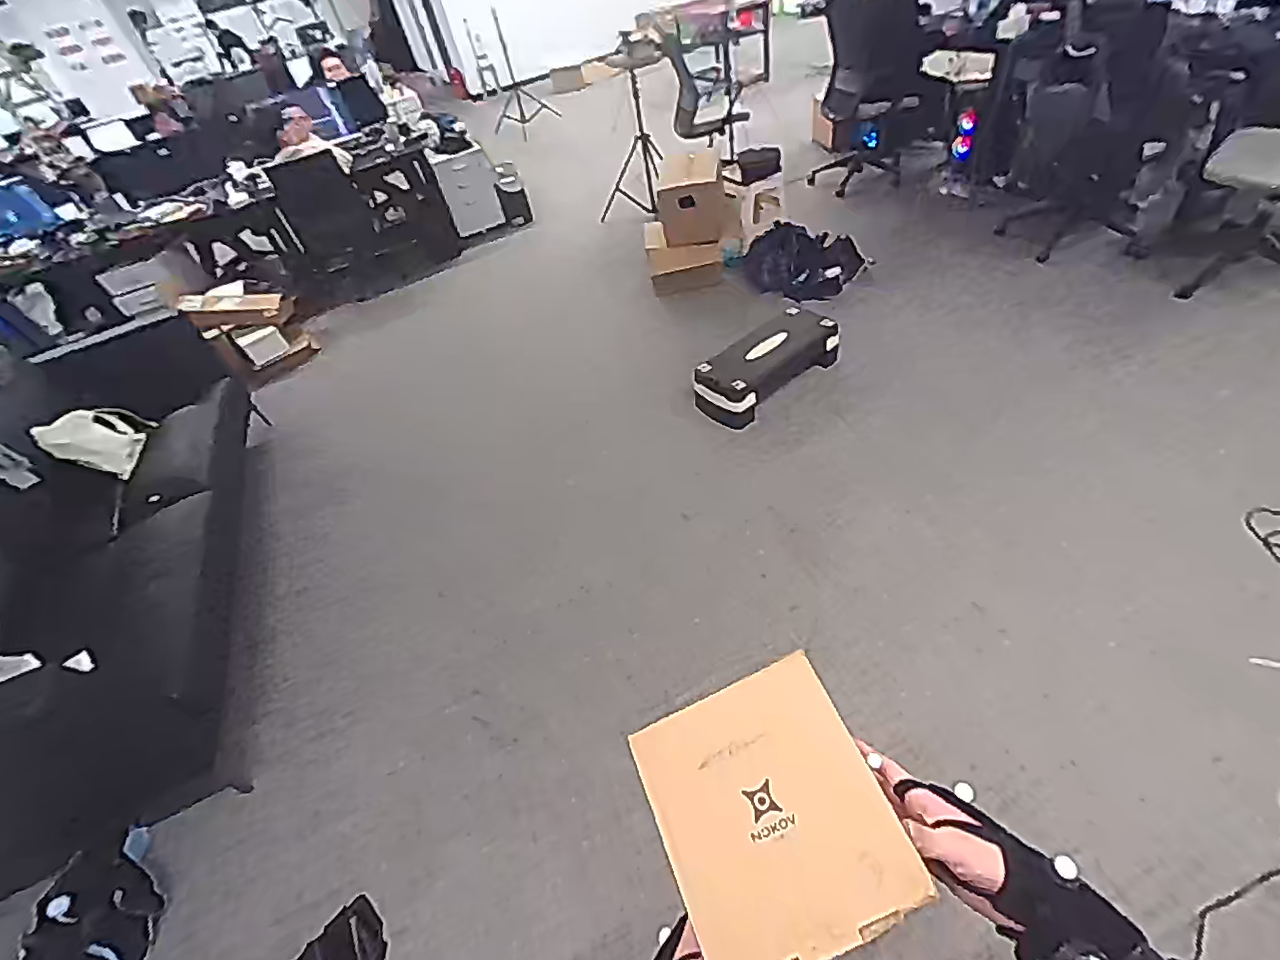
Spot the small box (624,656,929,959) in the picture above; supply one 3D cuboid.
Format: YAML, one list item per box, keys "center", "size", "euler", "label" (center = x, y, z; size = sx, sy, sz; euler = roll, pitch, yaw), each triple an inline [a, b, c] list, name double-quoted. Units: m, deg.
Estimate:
- center: [0.113, 0.280, 0.467]
  size: [0.168, 0.176, 0.179]
  euler: [-29, 57, 3]
  label: "small box"
